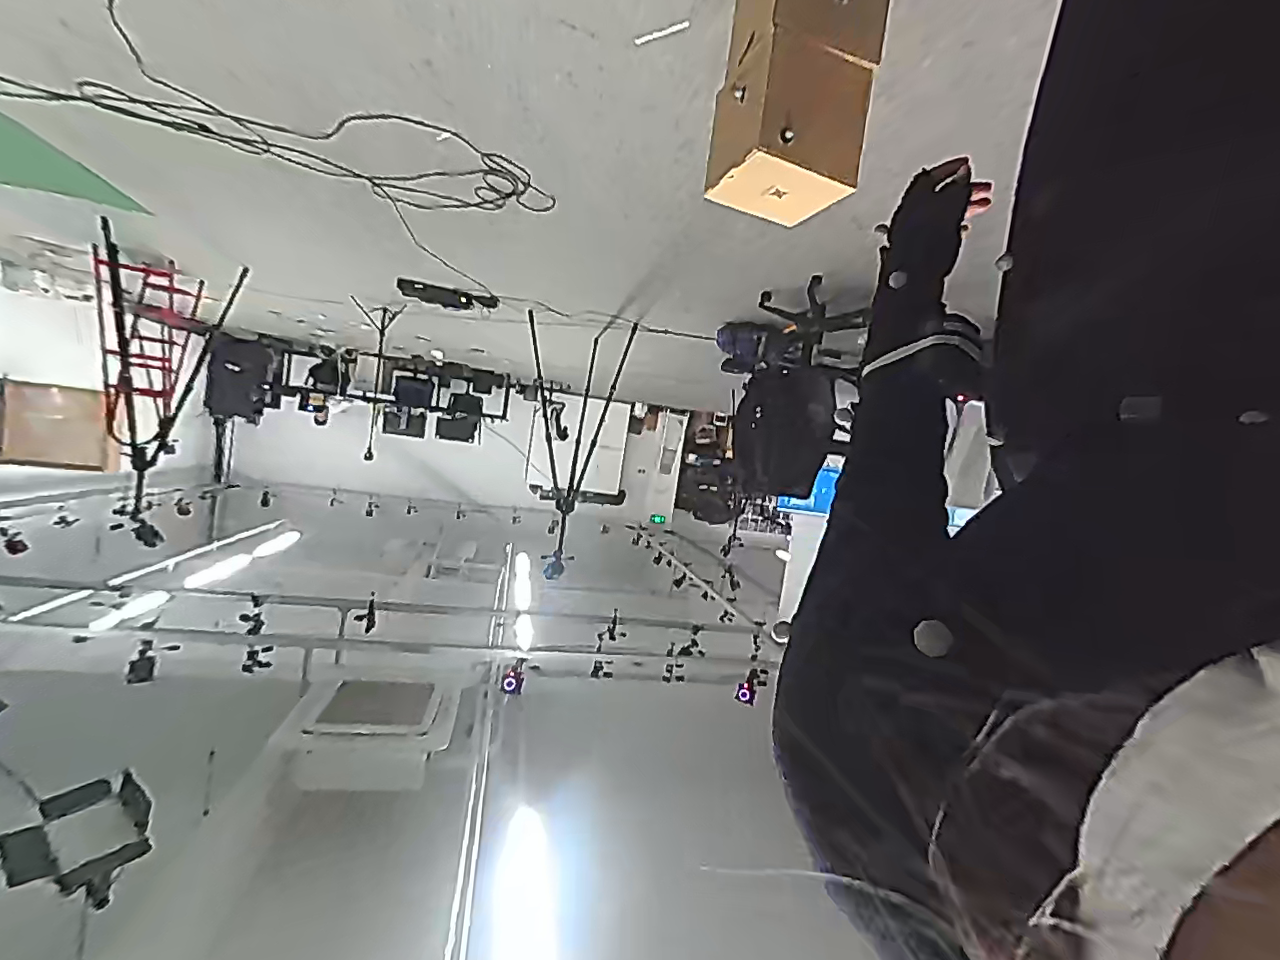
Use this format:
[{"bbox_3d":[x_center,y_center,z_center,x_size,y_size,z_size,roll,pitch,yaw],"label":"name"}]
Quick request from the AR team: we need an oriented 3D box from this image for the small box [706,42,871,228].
[{"bbox_3d":[0.228,-0.523,0.839,0.179,0.176,0.168,8,-177,-21],"label":"small box"}]

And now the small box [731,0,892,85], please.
[{"bbox_3d":[0.255,-0.682,0.823,0.179,0.176,0.168,7,-177,-16],"label":"small box"}]
